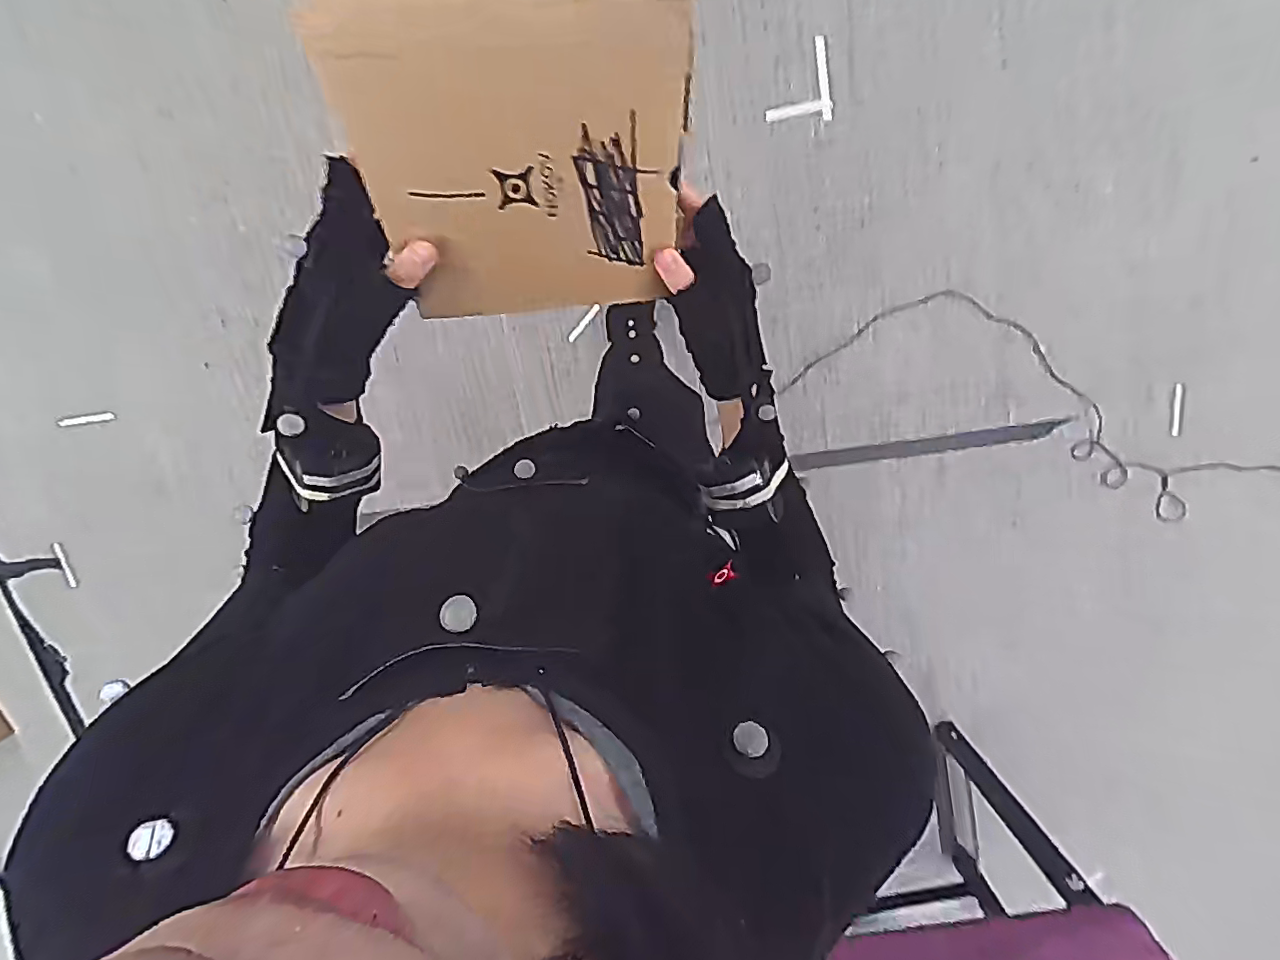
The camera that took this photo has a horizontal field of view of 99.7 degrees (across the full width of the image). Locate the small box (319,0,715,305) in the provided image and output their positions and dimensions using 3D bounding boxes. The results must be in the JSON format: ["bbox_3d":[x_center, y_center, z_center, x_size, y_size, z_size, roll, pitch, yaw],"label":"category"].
[{"bbox_3d":[-0.066,-0.236,0.342,0.179,0.176,0.168,-6,145,-6],"label":"small box"}]
